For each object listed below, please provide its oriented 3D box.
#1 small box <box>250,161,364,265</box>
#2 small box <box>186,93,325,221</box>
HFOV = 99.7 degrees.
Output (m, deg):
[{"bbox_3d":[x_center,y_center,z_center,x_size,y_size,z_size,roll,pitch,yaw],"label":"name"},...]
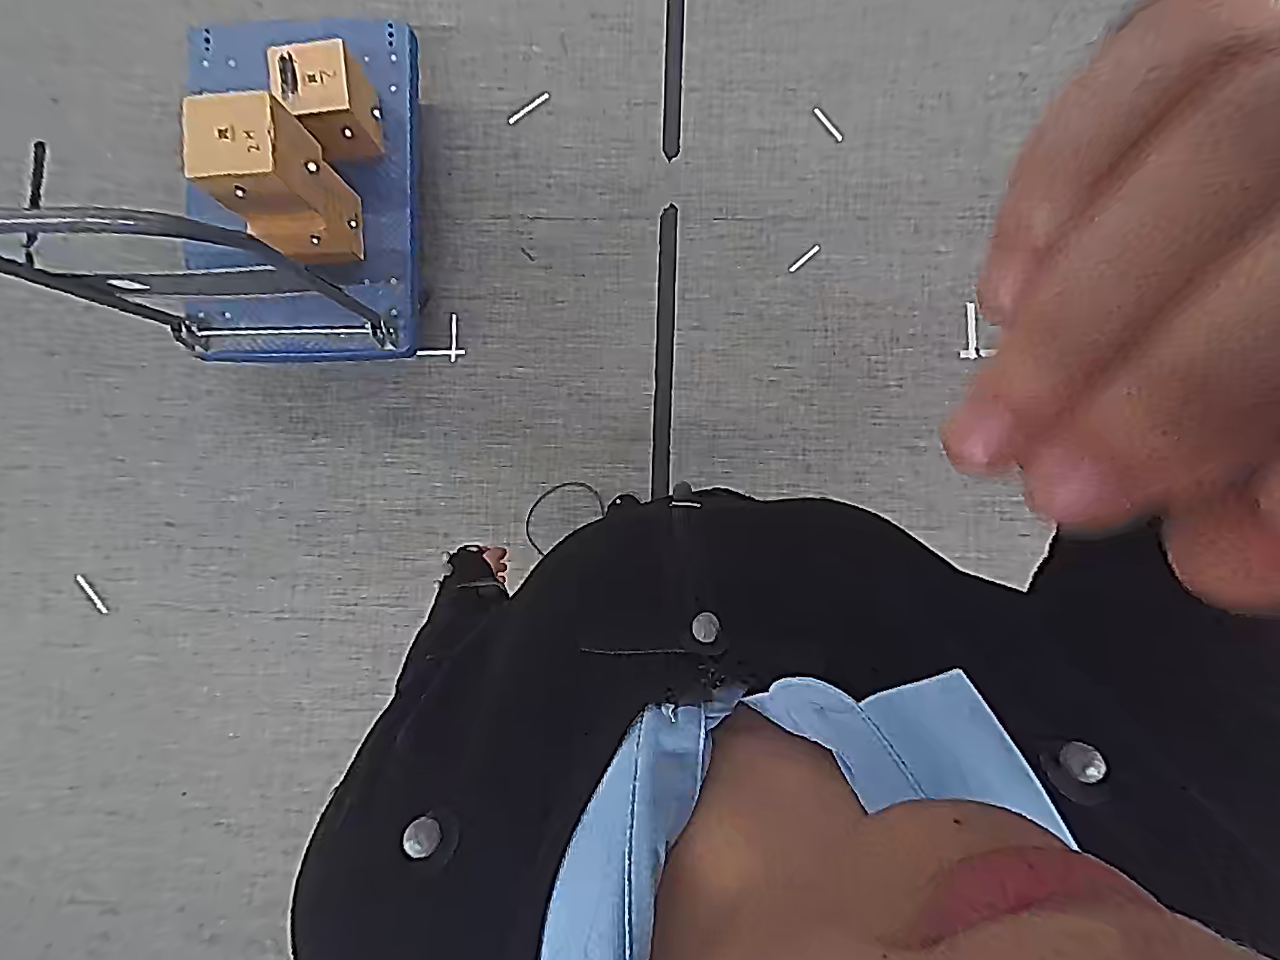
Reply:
[{"bbox_3d":[-0.788,-0.628,1.289,0.179,0.176,0.168,-4,88,0],"label":"small box"},{"bbox_3d":[-0.792,-0.661,1.126,0.179,0.176,0.168,-4,88,0],"label":"small box"}]
